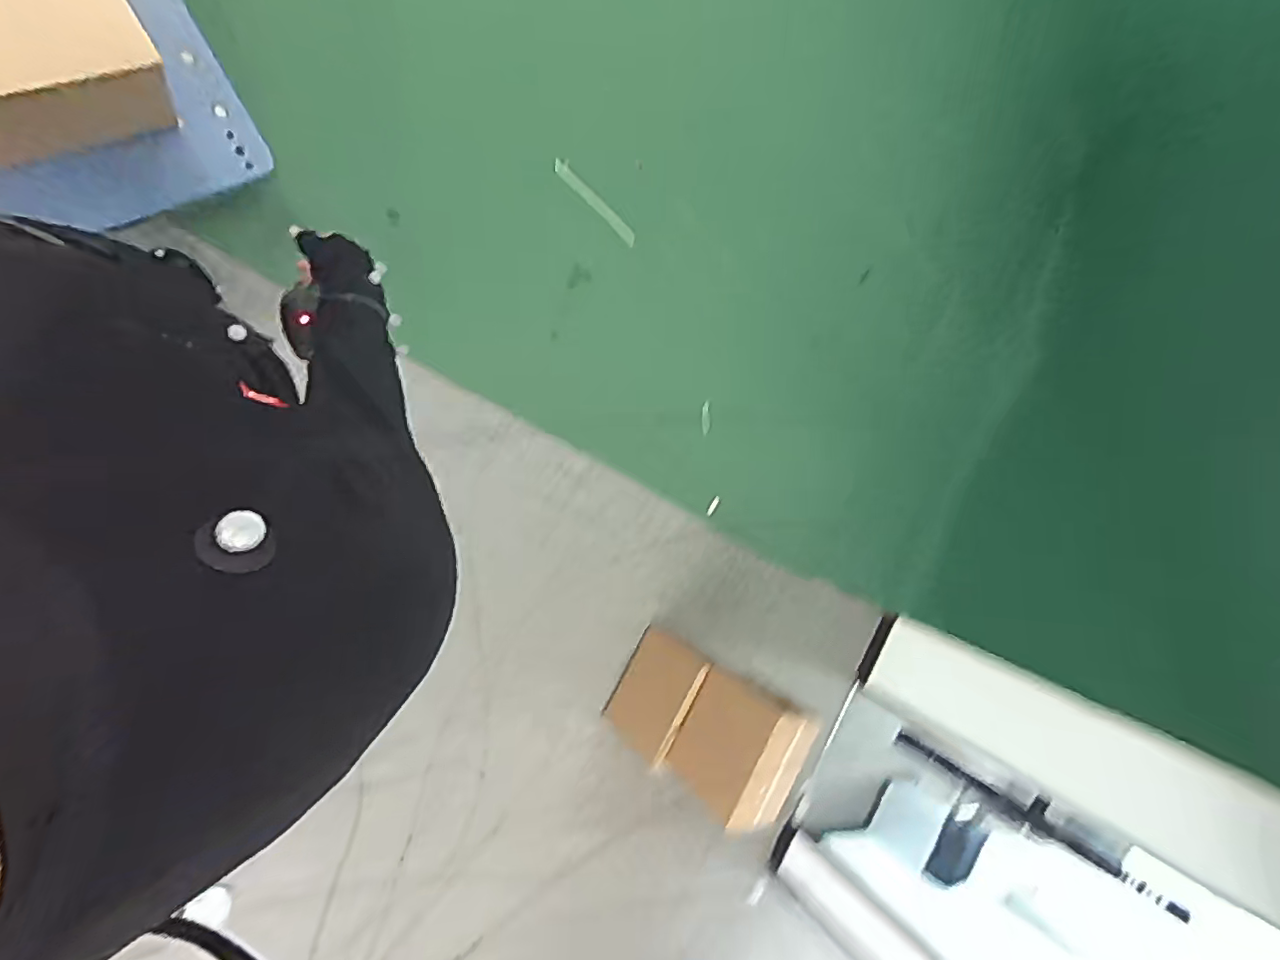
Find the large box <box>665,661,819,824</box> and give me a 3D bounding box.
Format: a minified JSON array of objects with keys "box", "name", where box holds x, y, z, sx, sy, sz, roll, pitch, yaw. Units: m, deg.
[{"box":[0.359,0.905,1.900,0.320,0.320,0.408,30,86,-43],"name":"large box"}]
